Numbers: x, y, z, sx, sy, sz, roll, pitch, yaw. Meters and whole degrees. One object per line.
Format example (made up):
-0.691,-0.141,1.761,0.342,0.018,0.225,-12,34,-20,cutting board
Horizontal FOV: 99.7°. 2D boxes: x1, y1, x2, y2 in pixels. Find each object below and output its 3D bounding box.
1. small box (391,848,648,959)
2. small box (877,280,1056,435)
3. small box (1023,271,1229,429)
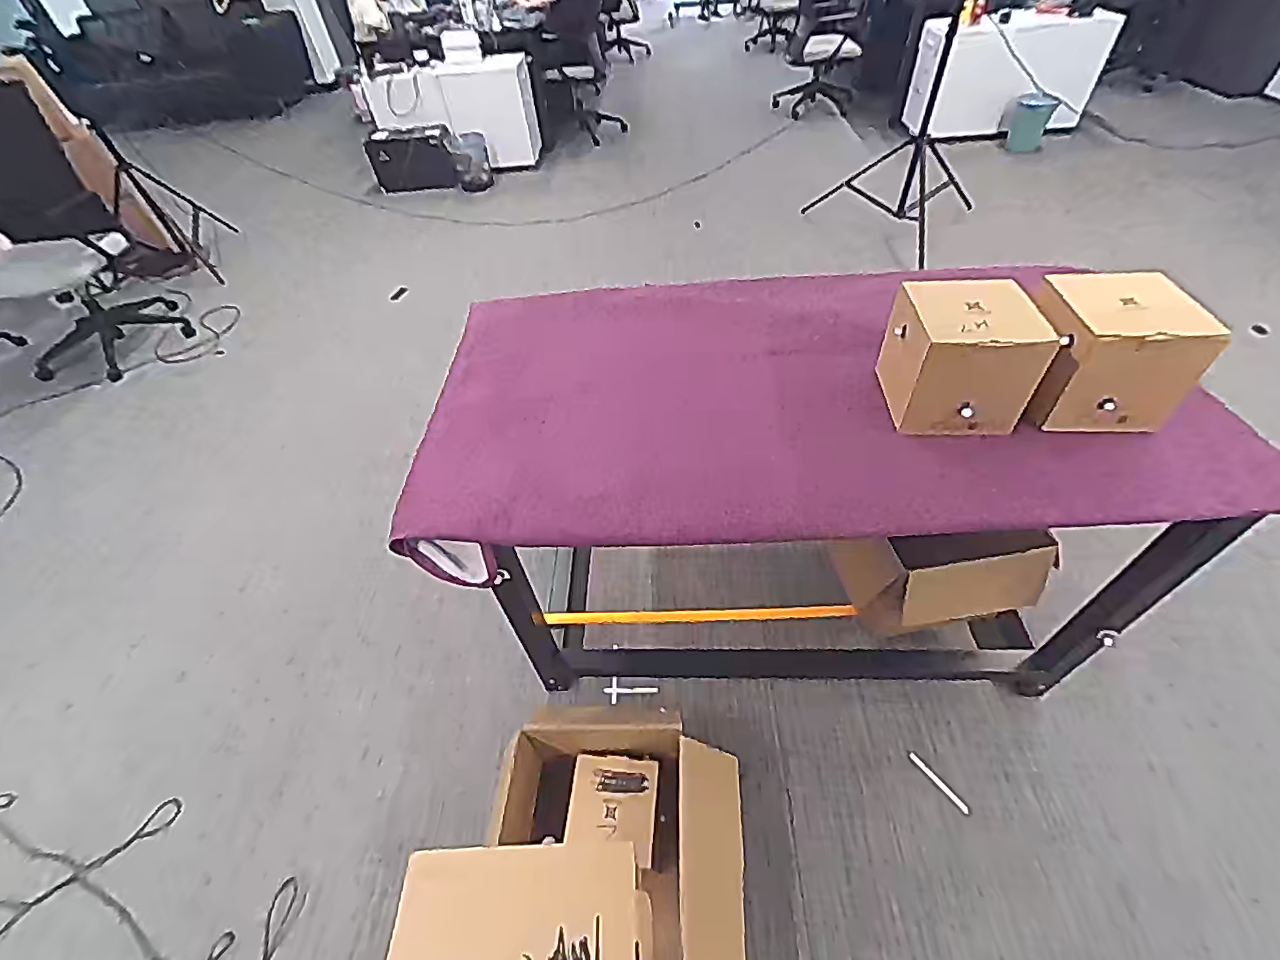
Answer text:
-0.081,0.394,0.409,0.179,0.176,0.168,-3,45,0,small box
0.482,-0.190,0.836,0.168,0.176,0.179,0,47,7,small box
0.692,-0.197,0.820,0.168,0.176,0.179,0,47,7,small box
